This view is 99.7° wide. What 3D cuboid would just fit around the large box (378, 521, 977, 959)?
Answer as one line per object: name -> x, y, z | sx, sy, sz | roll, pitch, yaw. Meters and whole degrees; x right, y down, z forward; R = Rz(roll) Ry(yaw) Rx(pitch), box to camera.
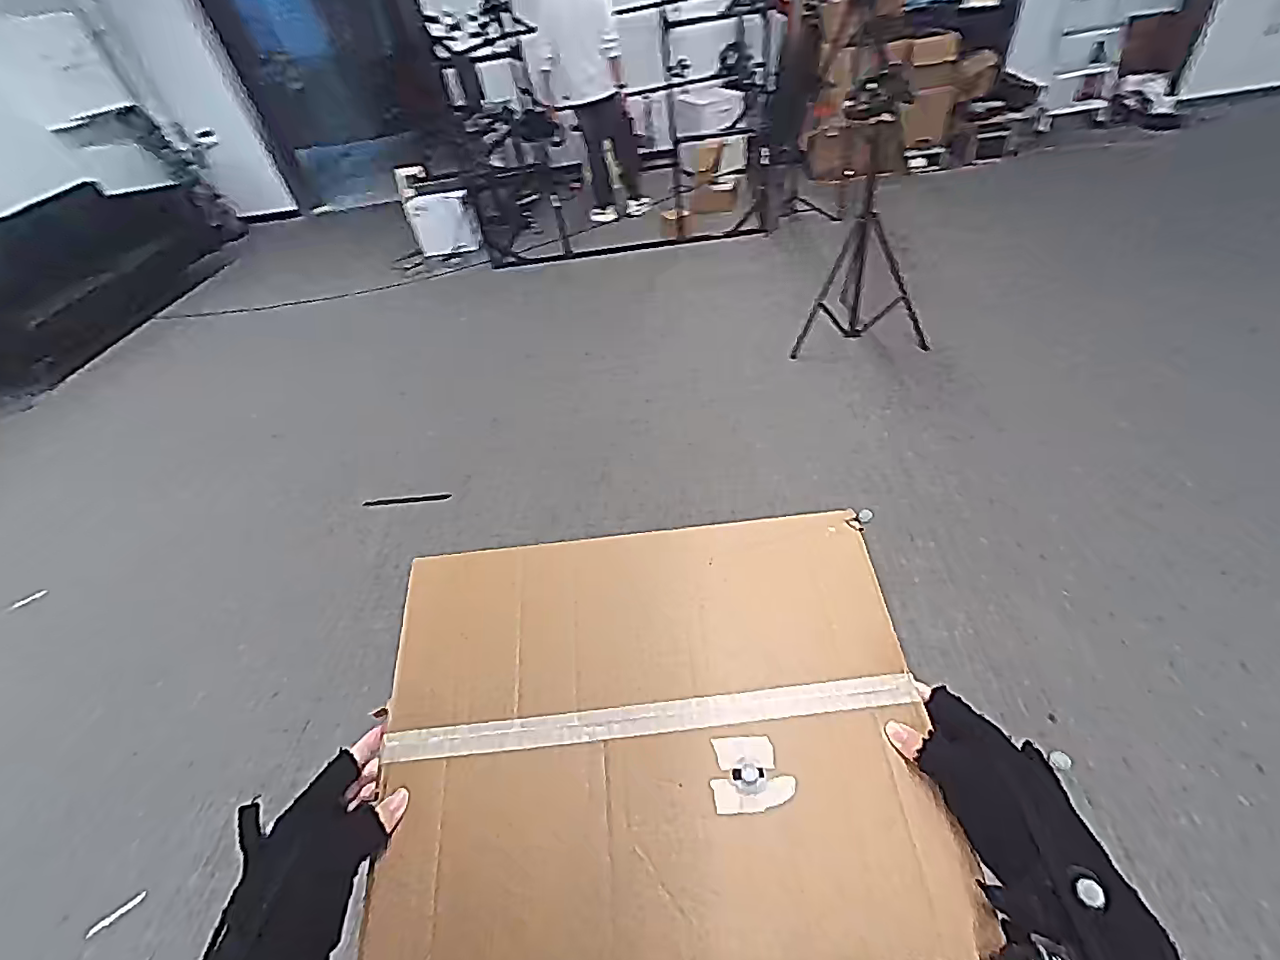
large box -> 0.016, 0.271, 0.552 | 0.408, 0.320, 0.320 | -7, 58, 0
